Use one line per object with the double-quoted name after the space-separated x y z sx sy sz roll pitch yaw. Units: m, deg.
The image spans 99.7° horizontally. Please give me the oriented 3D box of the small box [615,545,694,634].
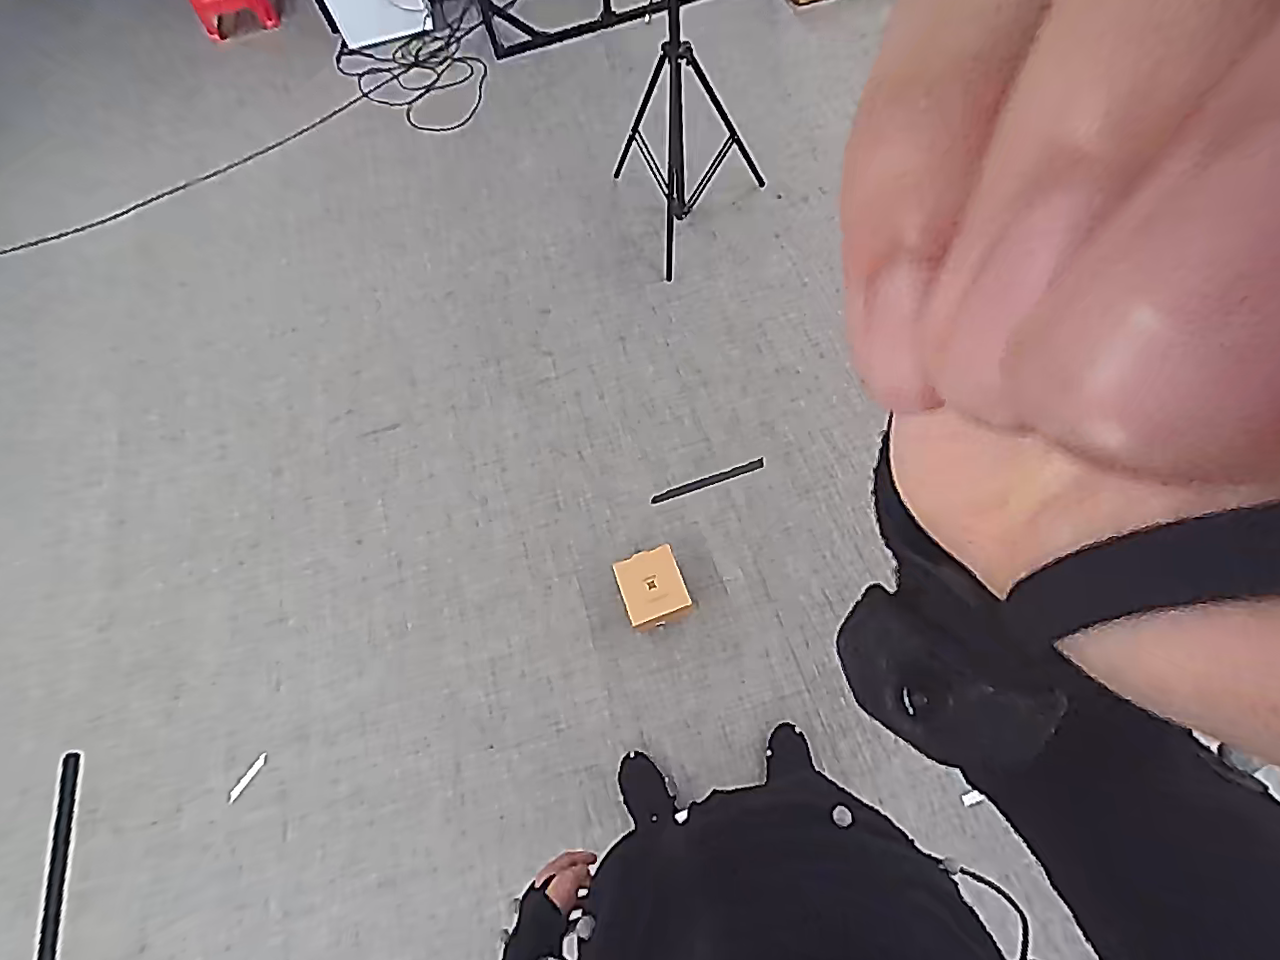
0.041 0.306 1.486 0.168 0.176 0.179 -21 67 -2 "small box"
